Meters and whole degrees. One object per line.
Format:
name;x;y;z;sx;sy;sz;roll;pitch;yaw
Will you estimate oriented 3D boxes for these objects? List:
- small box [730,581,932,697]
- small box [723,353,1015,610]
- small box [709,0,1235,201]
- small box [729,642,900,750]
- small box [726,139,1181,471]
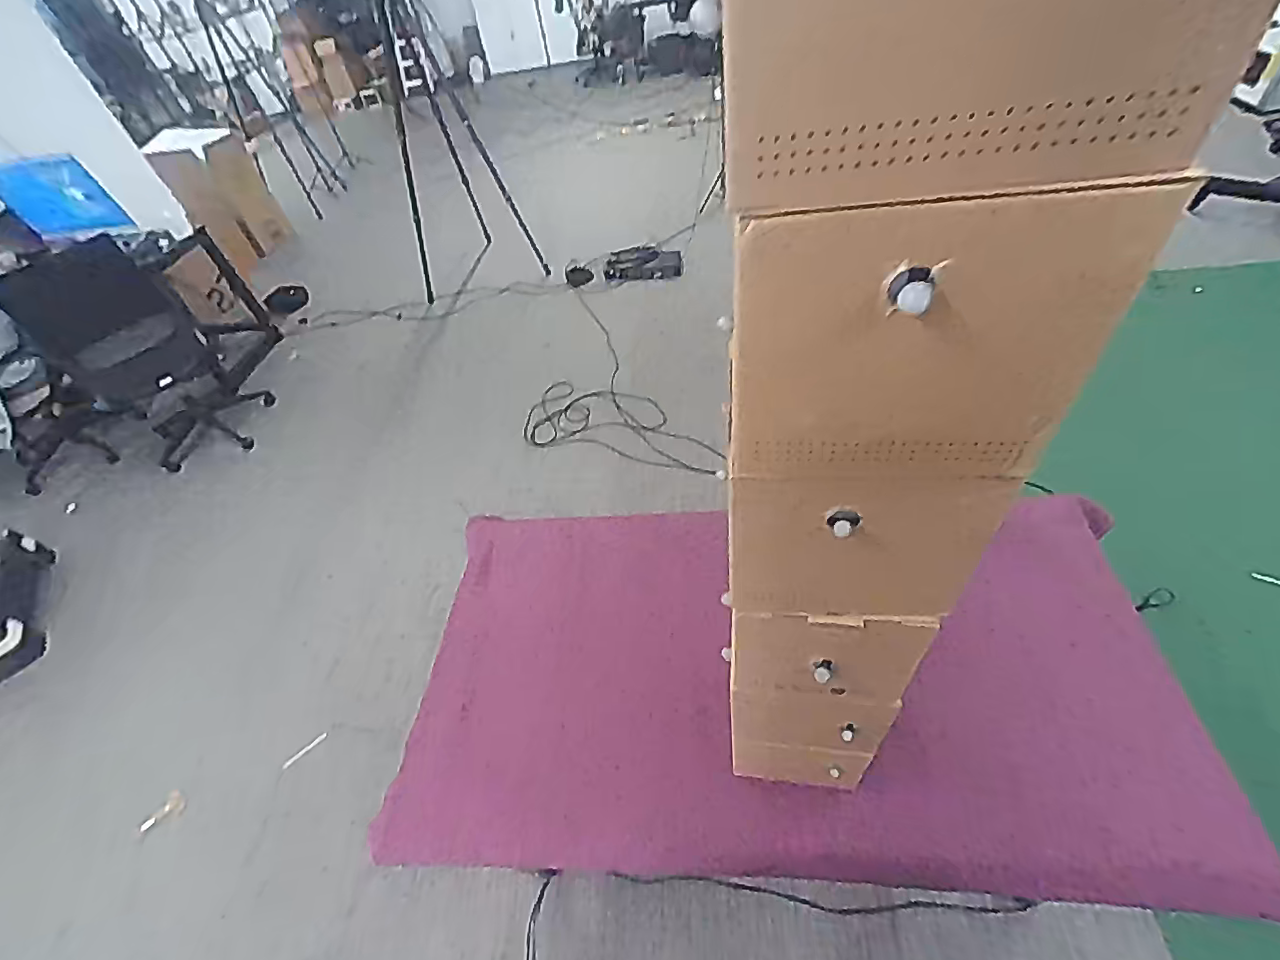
small box;0.183;0.107;0.565;0.168;0.176;0.179;1;48;12
small box;0.162;-0.006;0.447;0.179;0.176;0.168;0;47;10
small box;0.120;-0.233;0.217;0.179;0.176;0.168;0;47;11
small box;0.205;0.222;0.678;0.179;0.176;0.168;1;48;13
small box;0.145;-0.118;0.331;0.179;0.176;0.168;0;47;11
